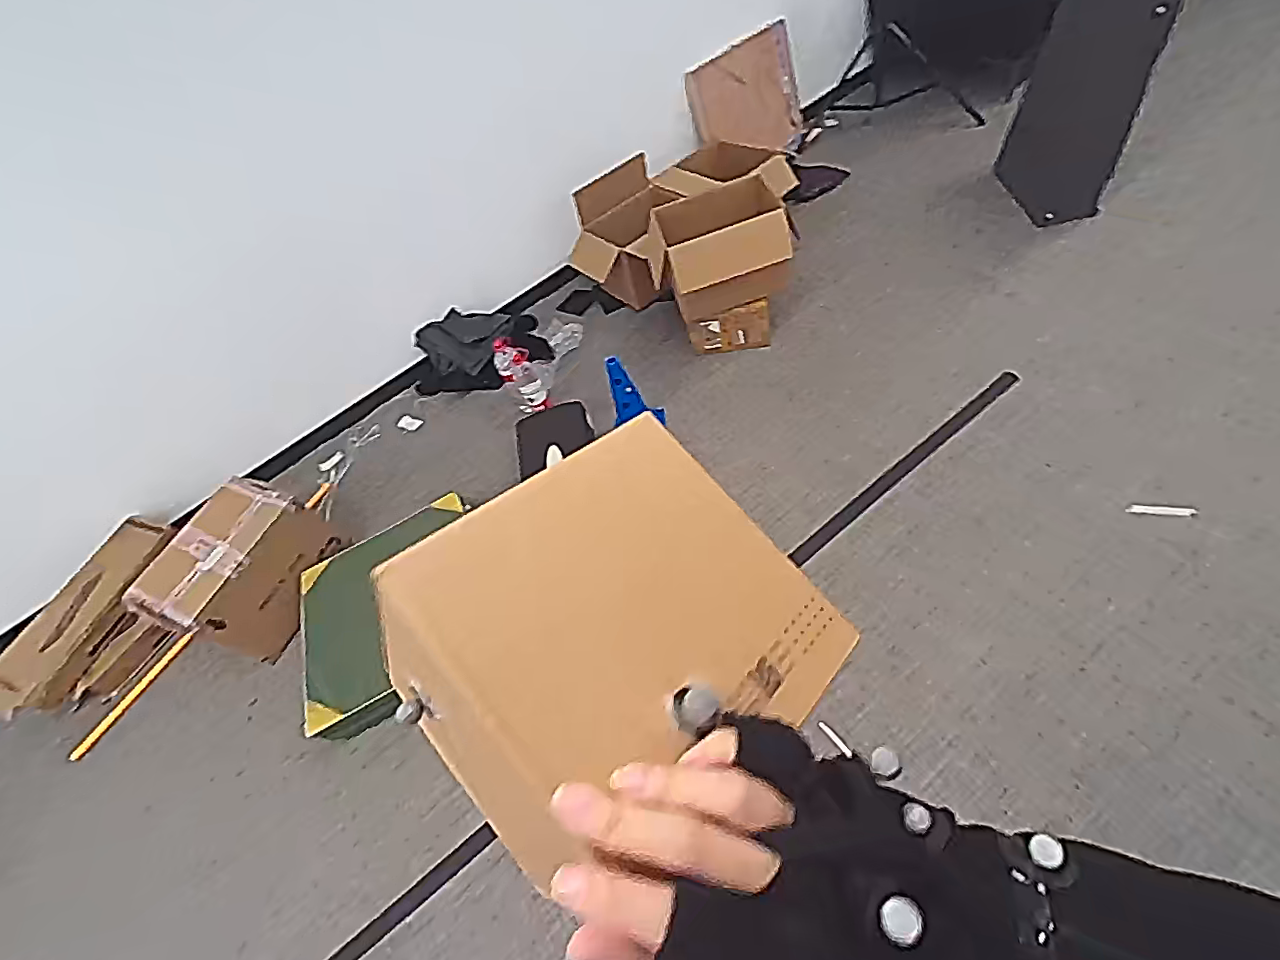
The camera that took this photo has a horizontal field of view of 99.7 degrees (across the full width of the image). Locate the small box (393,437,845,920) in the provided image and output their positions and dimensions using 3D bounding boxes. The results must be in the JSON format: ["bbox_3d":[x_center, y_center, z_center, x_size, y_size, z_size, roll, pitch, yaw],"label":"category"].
[{"bbox_3d":[-0.020,0.114,0.325,0.168,0.179,0.176,-35,76,-34],"label":"small box"}]
